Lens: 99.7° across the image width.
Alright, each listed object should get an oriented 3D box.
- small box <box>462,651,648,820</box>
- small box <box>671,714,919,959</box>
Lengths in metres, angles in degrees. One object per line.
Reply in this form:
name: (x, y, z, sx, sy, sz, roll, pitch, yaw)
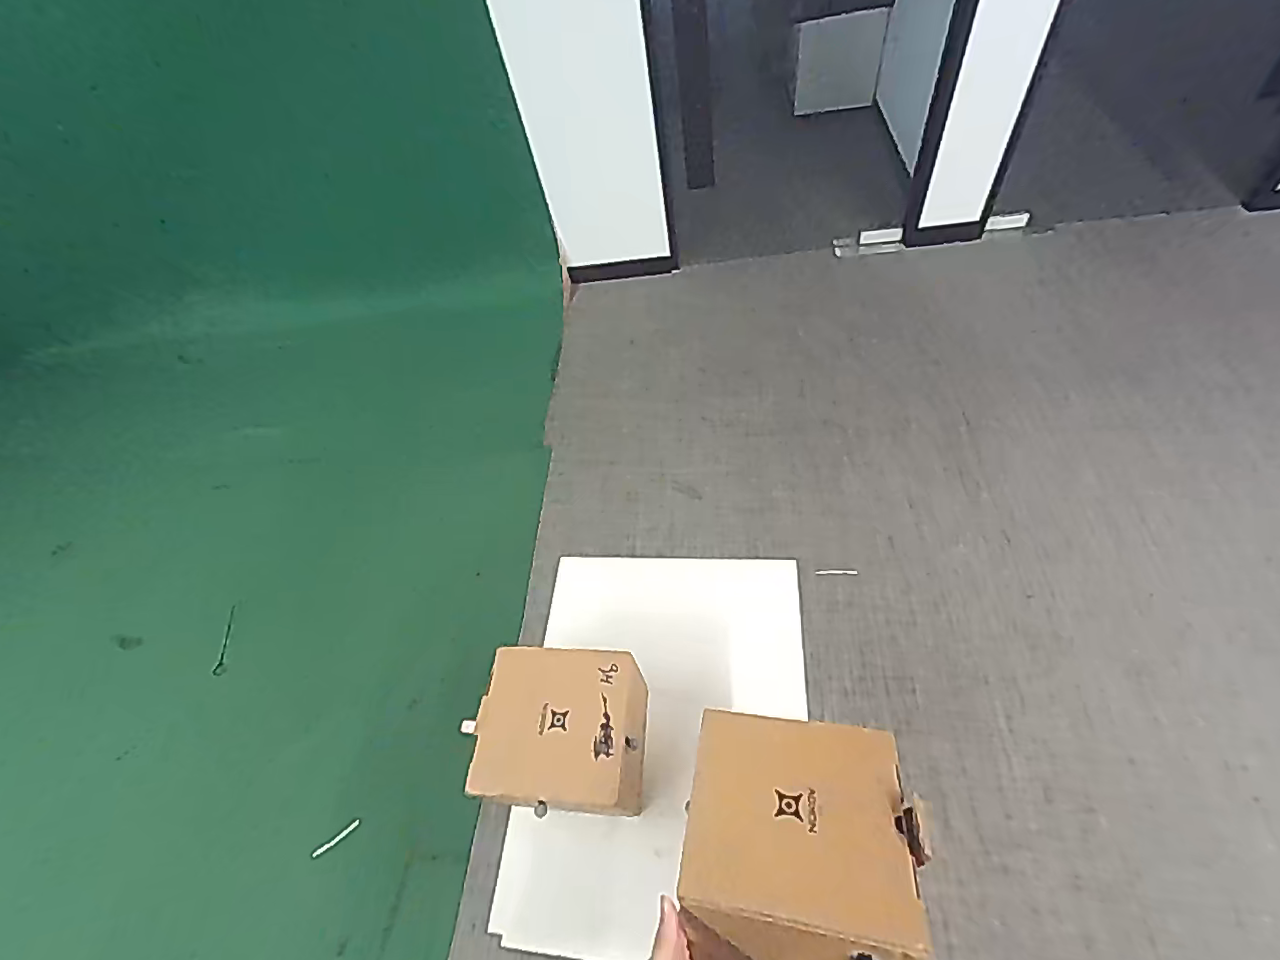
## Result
small box: (-0.092, 0.327, 0.688, 0.179, 0.176, 0.168, -1, 55, 10)
small box: (0.135, 0.345, 0.491, 0.179, 0.176, 0.168, 1, 32, 15)
